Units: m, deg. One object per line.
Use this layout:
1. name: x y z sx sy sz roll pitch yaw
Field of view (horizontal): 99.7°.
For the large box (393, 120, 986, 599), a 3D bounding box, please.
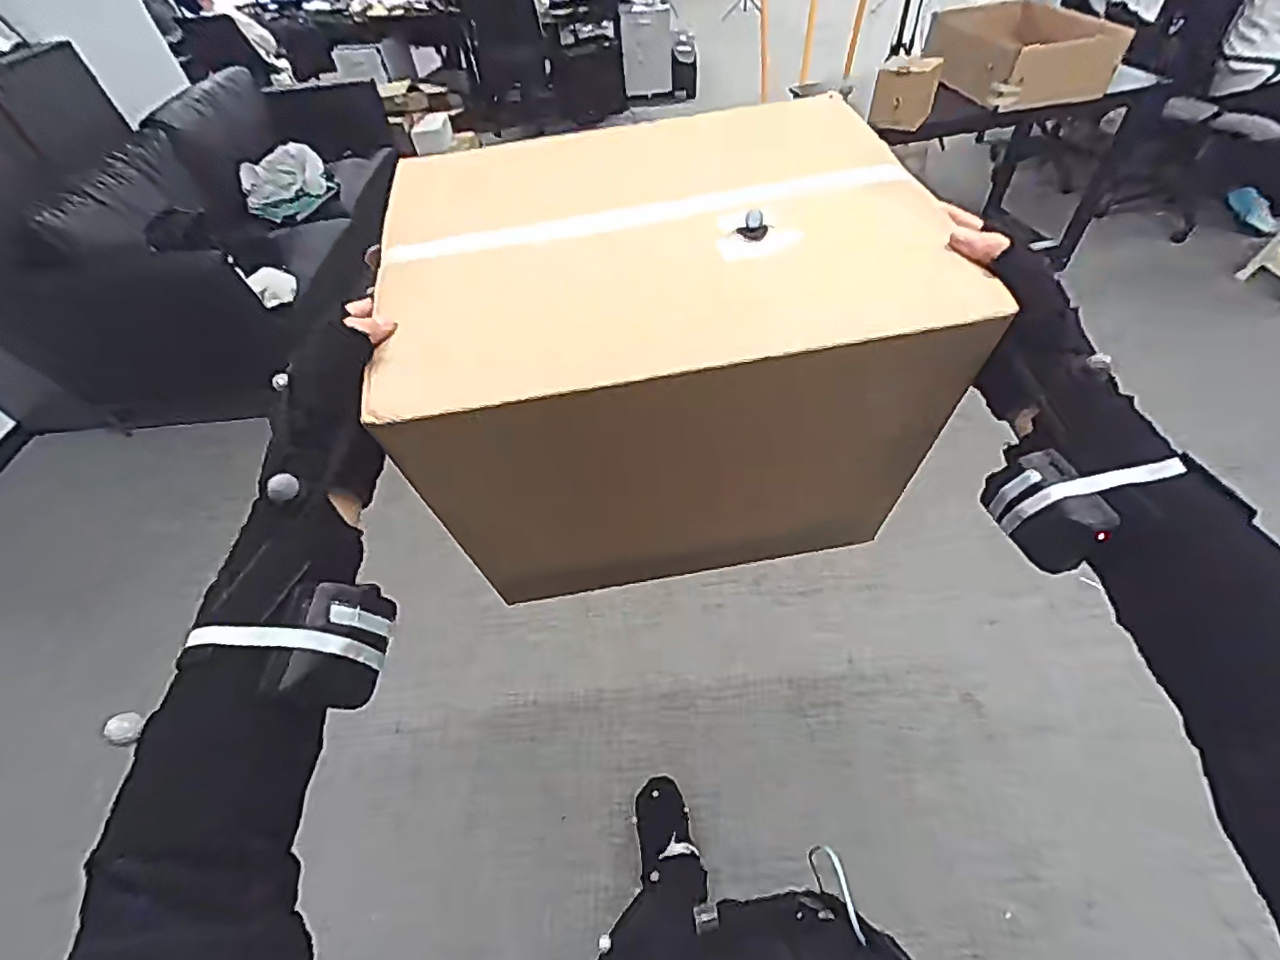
1. large box: 0.019 -0.108 0.553 0.408 0.320 0.320 -10 57 -3
